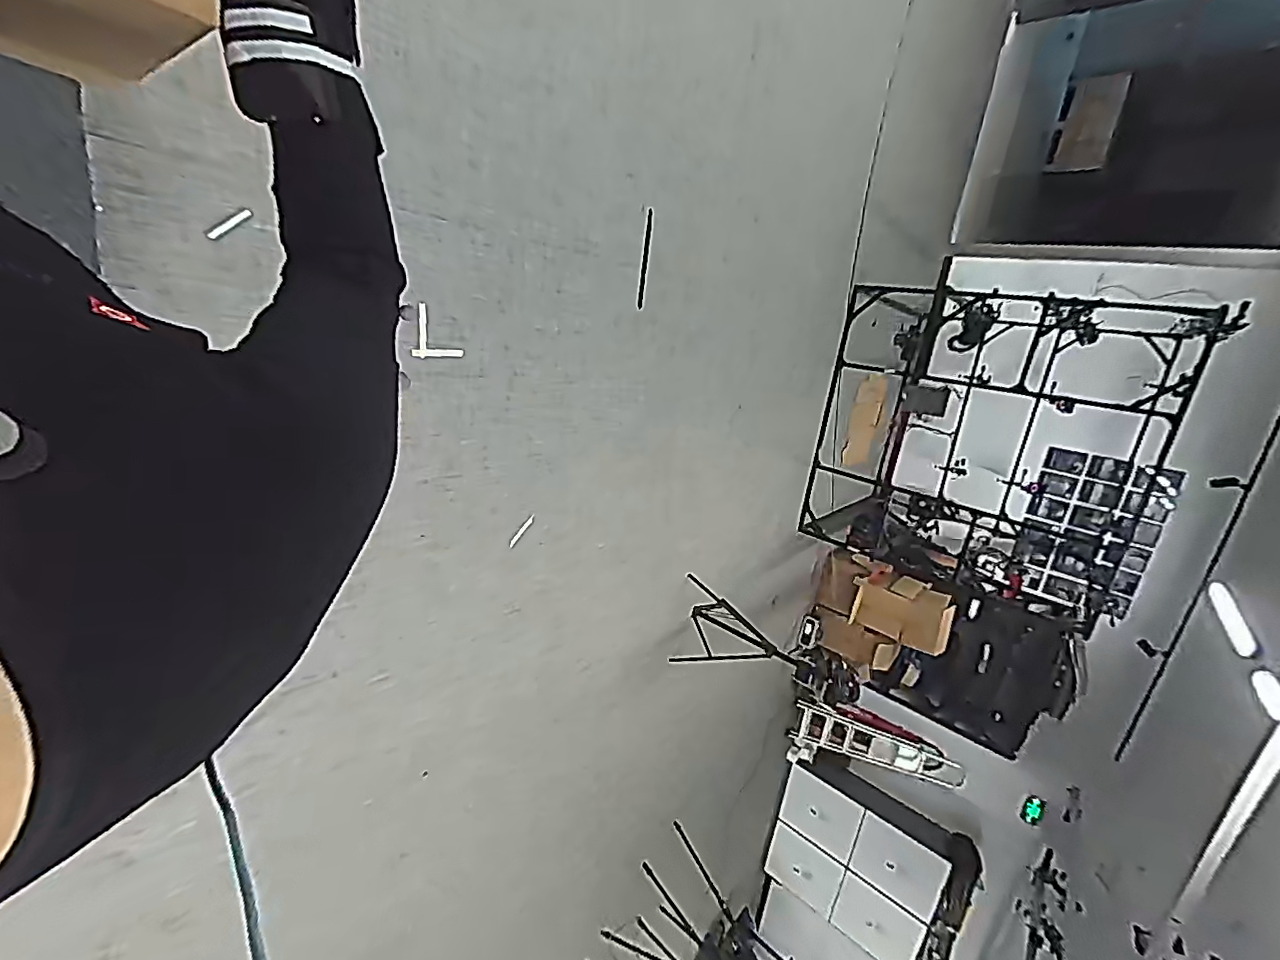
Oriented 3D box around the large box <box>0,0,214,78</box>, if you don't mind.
[{"bbox_3d":[-0.479,-0.454,0.231,0.408,0.320,0.320,-9,115,-51],"label":"large box"}]
